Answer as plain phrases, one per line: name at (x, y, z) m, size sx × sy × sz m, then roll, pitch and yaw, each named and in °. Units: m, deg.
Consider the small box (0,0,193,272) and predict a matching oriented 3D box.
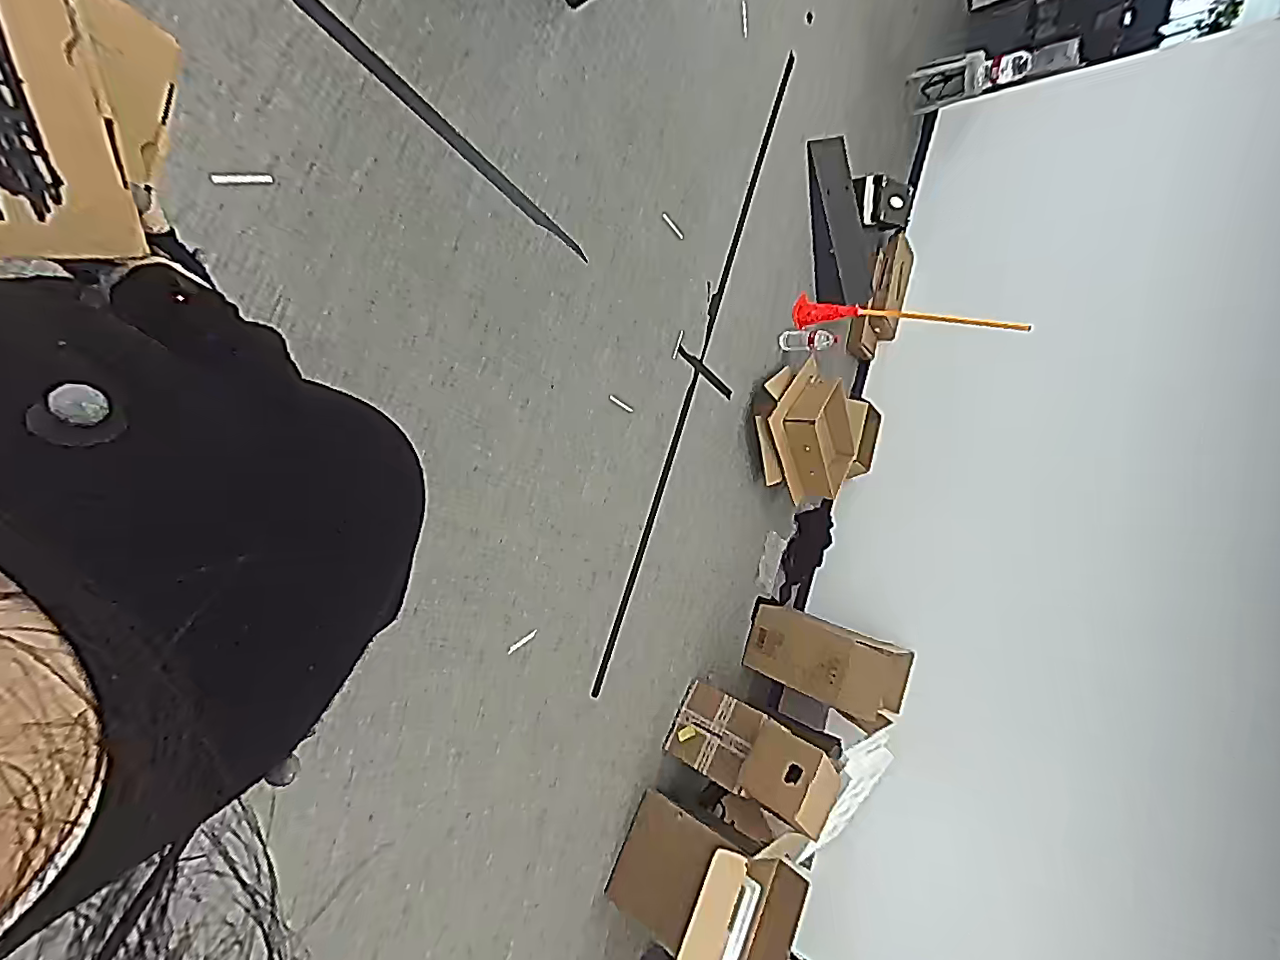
small box at (-0.456, -0.259, 0.363) m, size 0.179 × 0.176 × 0.168 m, roll 15°, pitch 89°, yaw -58°
